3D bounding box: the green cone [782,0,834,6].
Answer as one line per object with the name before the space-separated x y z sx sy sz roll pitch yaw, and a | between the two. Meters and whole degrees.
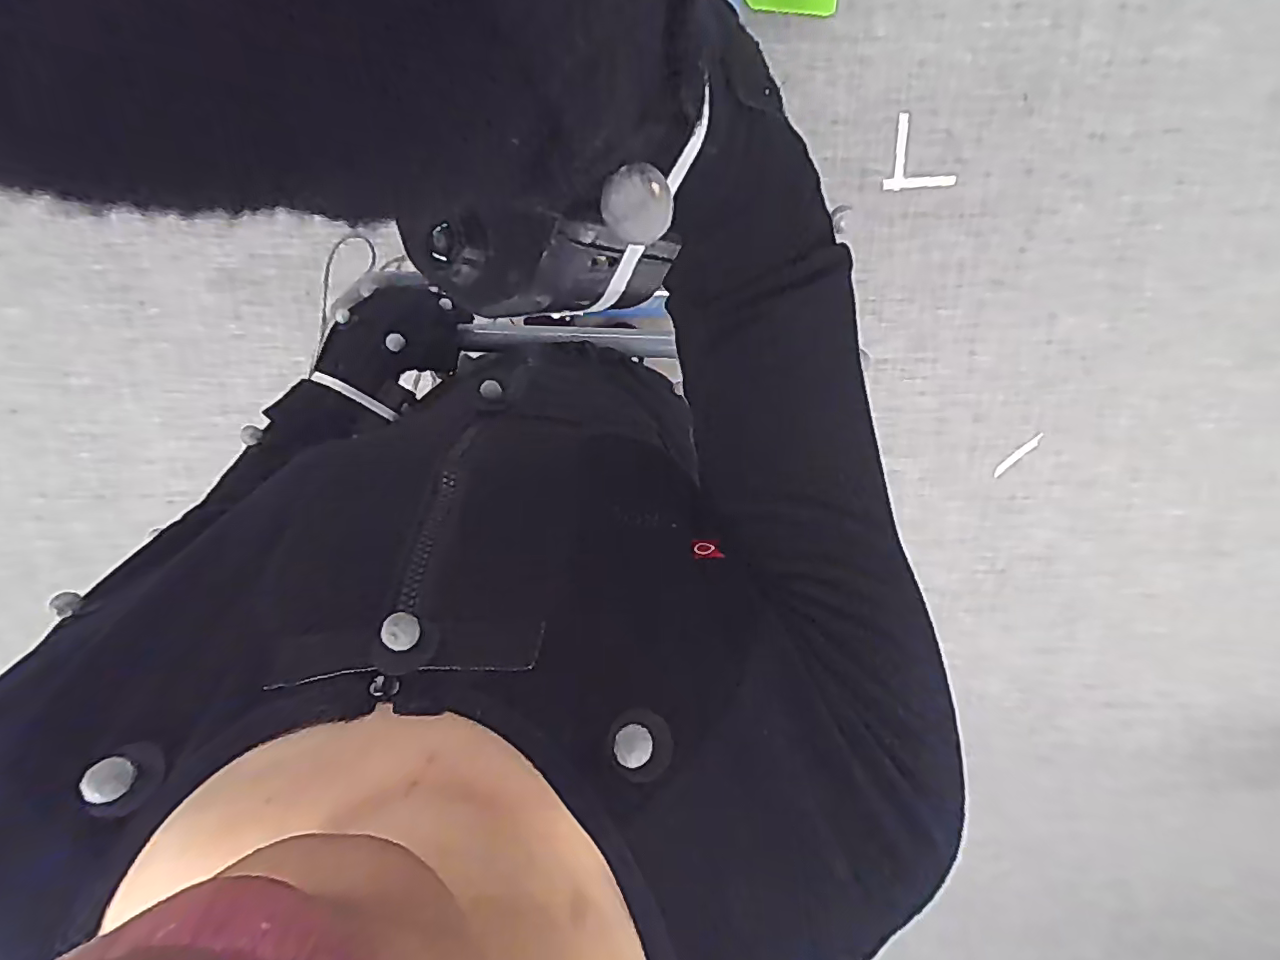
green cone | 0.338 -1.065 0.968 0.202 0.368 0.200 2 109 -4
